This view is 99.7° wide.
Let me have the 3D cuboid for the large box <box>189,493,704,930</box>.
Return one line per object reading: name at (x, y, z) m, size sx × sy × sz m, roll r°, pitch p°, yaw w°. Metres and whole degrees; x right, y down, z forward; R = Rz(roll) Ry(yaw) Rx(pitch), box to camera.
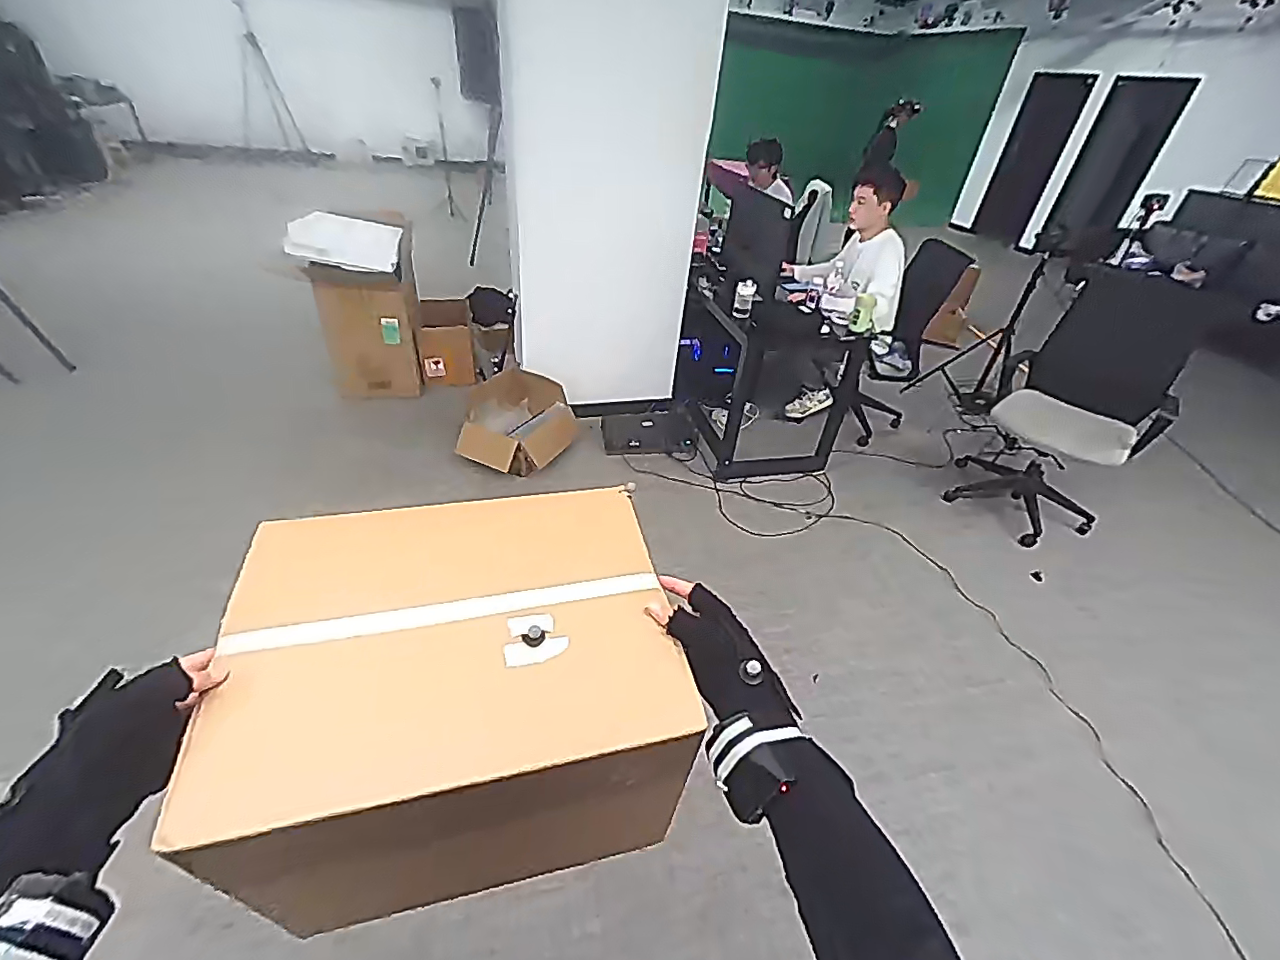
large box at (-0.186, 0.247, 0.632) m, size 0.408 × 0.320 × 0.320 m, roll -5°, pitch 43°, yaw -15°
